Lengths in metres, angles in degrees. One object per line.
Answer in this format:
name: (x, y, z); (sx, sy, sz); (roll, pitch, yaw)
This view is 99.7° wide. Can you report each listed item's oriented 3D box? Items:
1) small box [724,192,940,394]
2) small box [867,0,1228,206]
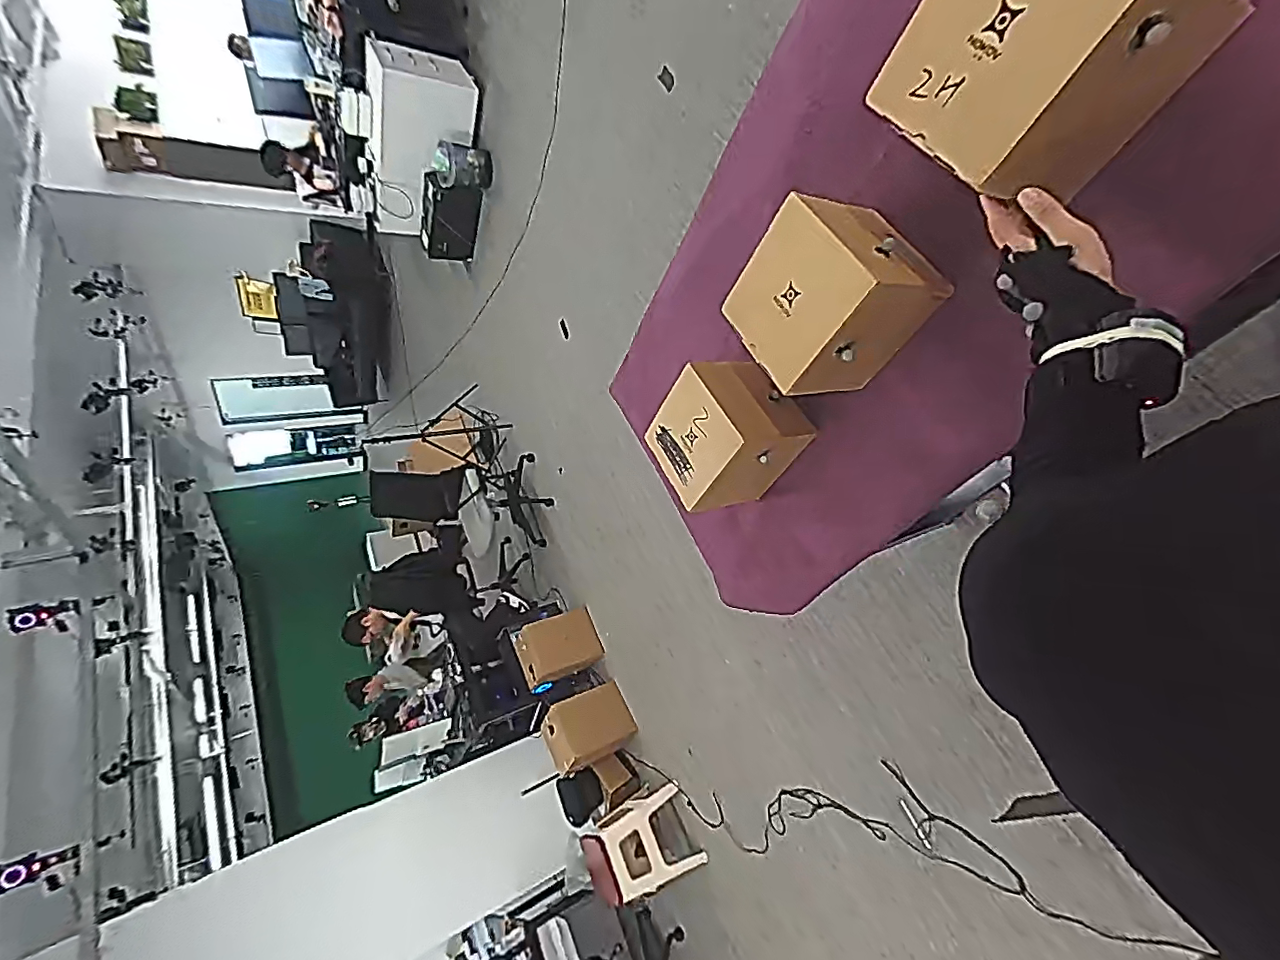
small box: (0.248, -0.234, 0.696); (0.168, 0.176, 0.179); (62, 144, 25)
small box: (0.354, -0.377, 0.482); (0.168, 0.176, 0.179); (63, 144, 27)
